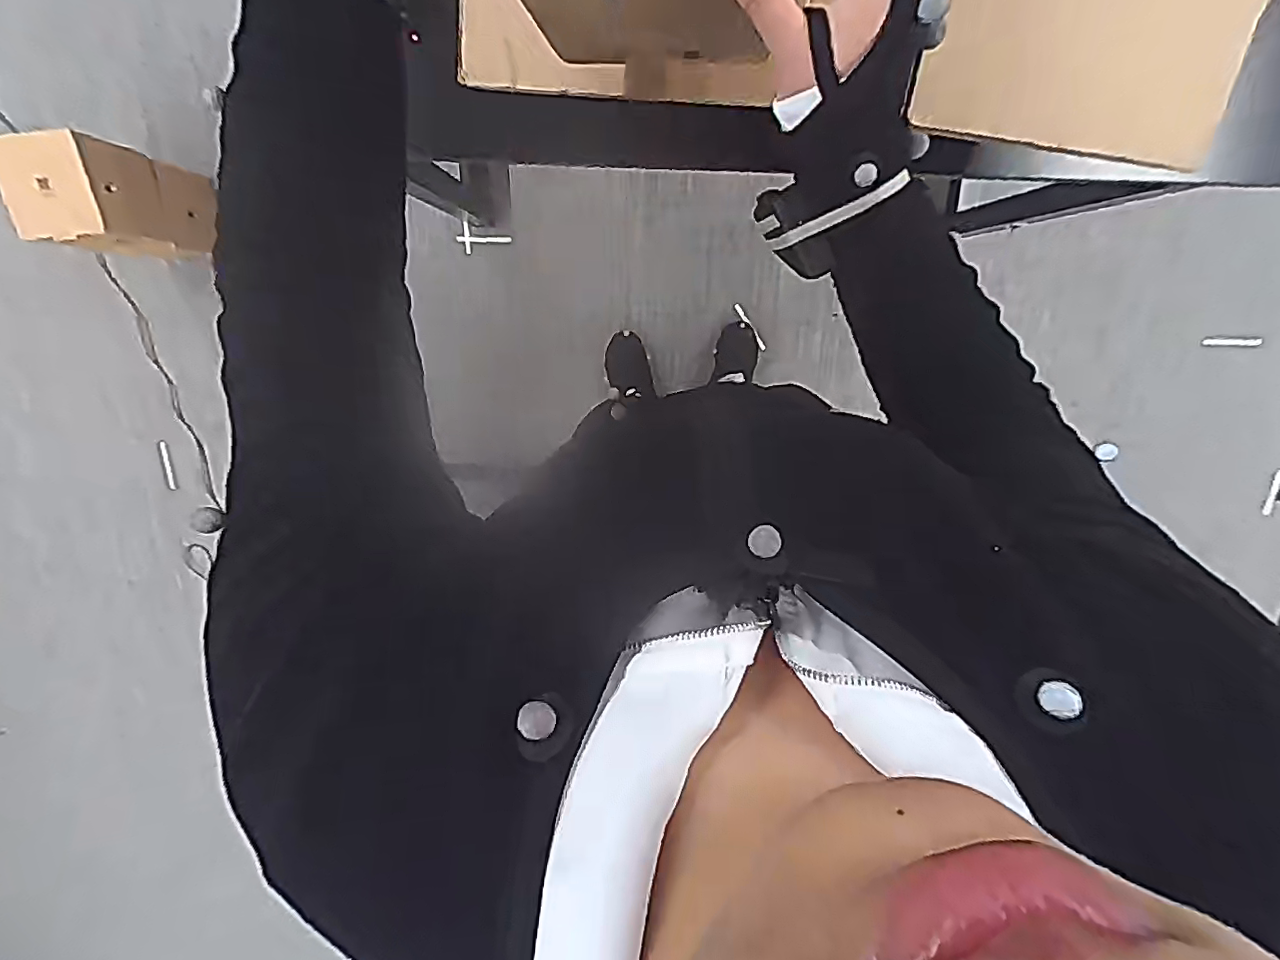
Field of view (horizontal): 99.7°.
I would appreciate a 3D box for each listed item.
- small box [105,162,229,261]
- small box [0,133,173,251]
[{"bbox_3d":[-1.092,-0.603,1.231,0.168,0.176,0.179,-3,108,0],"label":"small box"},{"bbox_3d":[-1.092,-0.560,1.074,0.168,0.176,0.179,-6,106,0],"label":"small box"}]
